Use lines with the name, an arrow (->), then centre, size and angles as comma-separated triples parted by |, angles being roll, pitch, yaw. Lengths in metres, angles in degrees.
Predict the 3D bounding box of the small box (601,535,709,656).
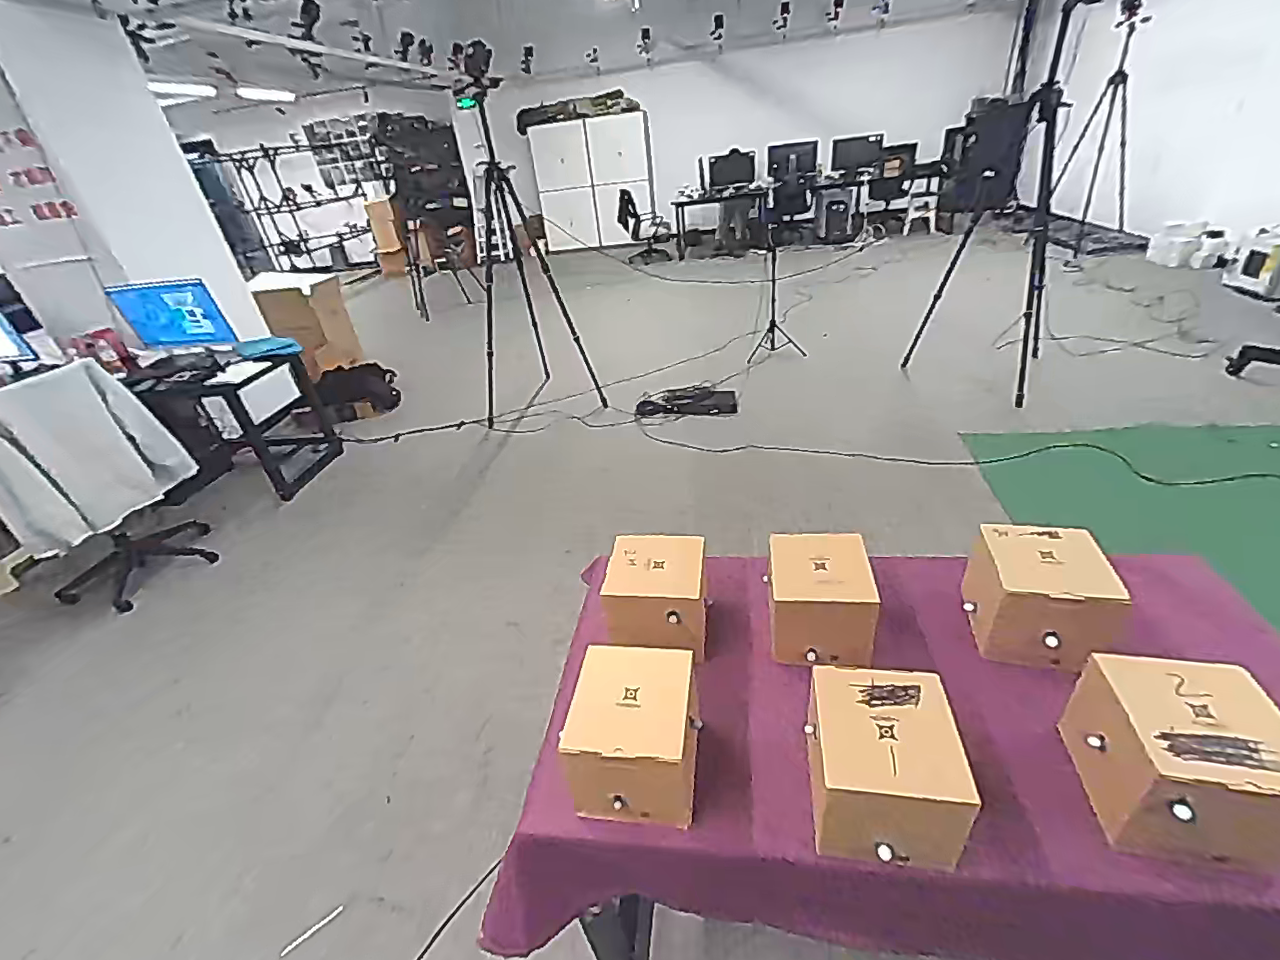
small box -> 0.039, 0.223, 1.030 | 0.179, 0.176, 0.168 | -1, 33, 12

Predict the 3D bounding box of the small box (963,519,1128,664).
small box -> 0.674, 0.188, 0.925 | 0.168, 0.176, 0.179 | 2, 35, 16

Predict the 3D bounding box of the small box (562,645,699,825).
small box -> -0.003, 0.374, 0.806 | 0.168, 0.176, 0.179 | -1, 33, 12

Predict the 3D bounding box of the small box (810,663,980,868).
small box -> 0.320, 0.374, 0.722 | 0.168, 0.176, 0.179 | -2, 33, 13
